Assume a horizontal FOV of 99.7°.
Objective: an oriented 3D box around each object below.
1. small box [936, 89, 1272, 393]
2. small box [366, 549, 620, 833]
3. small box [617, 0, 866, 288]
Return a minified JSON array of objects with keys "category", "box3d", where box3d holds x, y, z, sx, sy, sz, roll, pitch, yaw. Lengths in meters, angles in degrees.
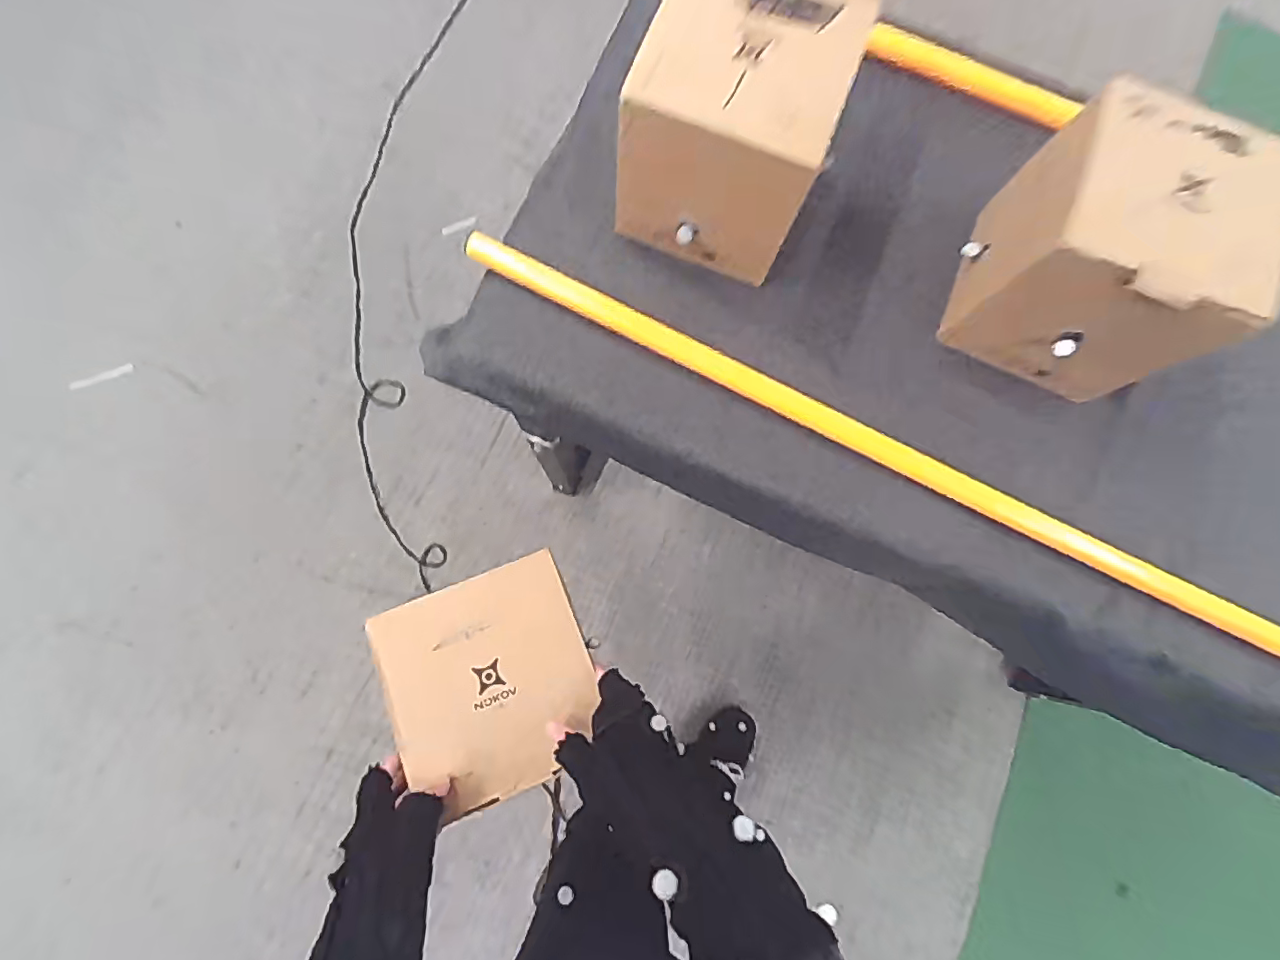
[{"category":"small box","box3d":[0.414,-0.206,0.511,0.168,0.176,0.179,20,77,3]},{"category":"small box","box3d":[-0.126,0.187,0.519,0.168,0.176,0.179,-22,75,-11]},{"category":"small box","box3d":[0.081,-0.323,0.515,0.168,0.176,0.179,21,78,2]}]
